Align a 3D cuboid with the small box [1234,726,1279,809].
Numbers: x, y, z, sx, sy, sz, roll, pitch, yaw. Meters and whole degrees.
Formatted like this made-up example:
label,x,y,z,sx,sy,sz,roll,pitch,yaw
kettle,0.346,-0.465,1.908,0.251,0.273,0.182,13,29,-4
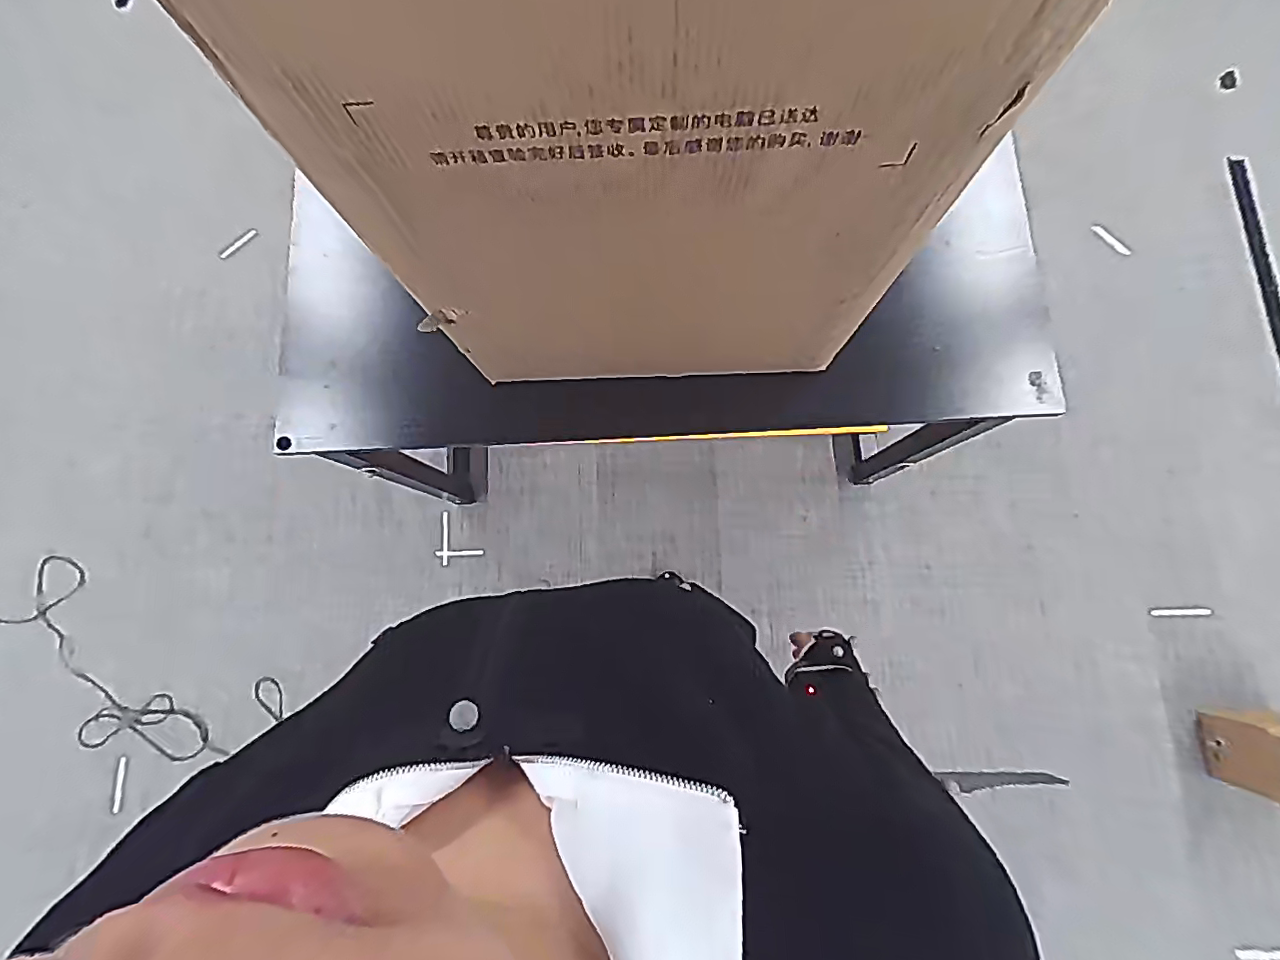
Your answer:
label,x,y,z,sx,sy,sz,roll,pitch,yaw
small box,1.538,0.664,1.227,0.179,0.176,0.168,-4,80,3
